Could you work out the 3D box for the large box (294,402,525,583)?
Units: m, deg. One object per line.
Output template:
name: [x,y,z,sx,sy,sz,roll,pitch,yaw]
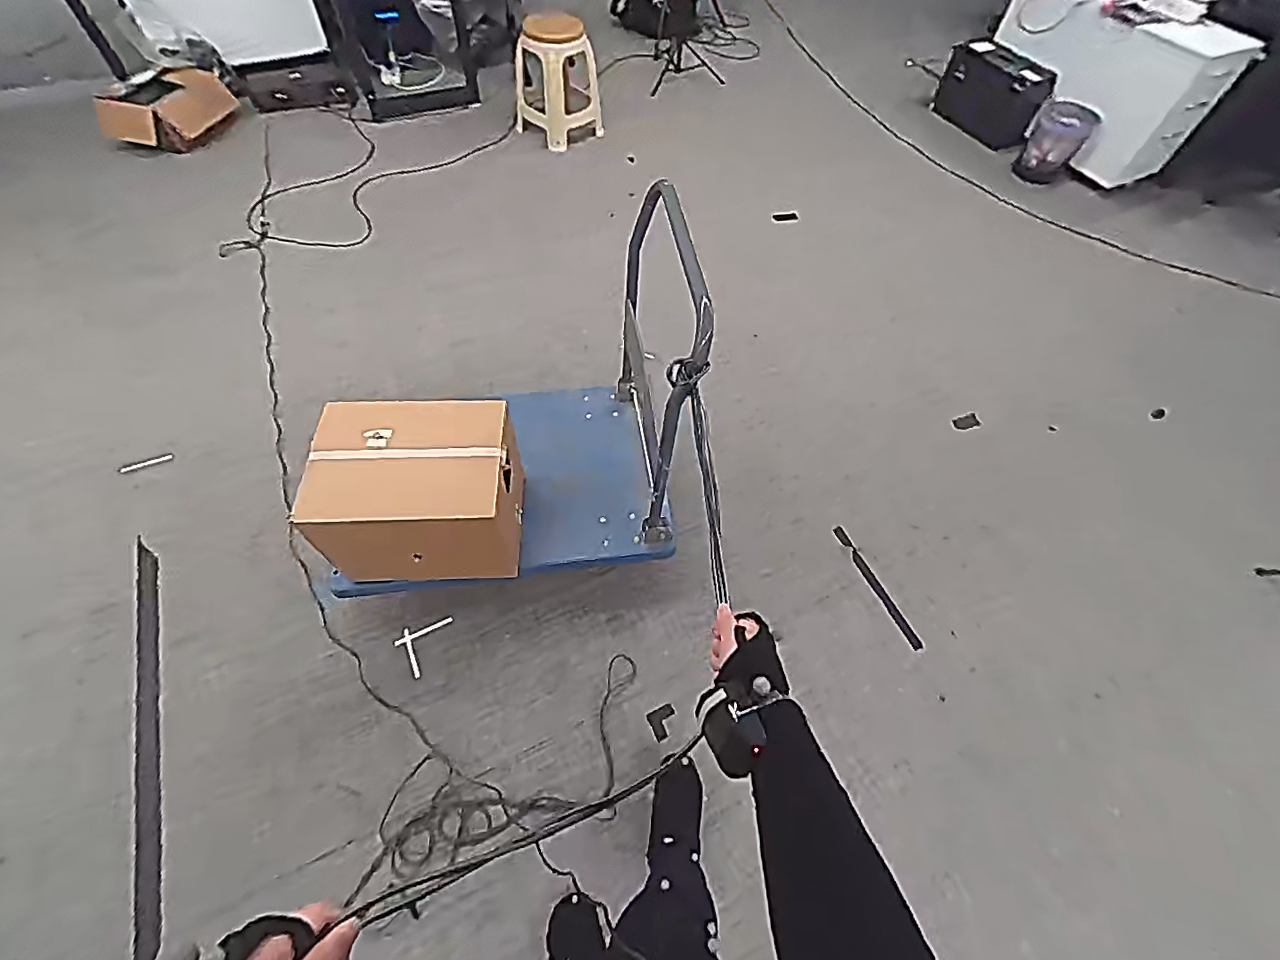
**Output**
large box: [-0.495,0.038,1.274,0.408,0.320,0.320,-2,57,-3]
